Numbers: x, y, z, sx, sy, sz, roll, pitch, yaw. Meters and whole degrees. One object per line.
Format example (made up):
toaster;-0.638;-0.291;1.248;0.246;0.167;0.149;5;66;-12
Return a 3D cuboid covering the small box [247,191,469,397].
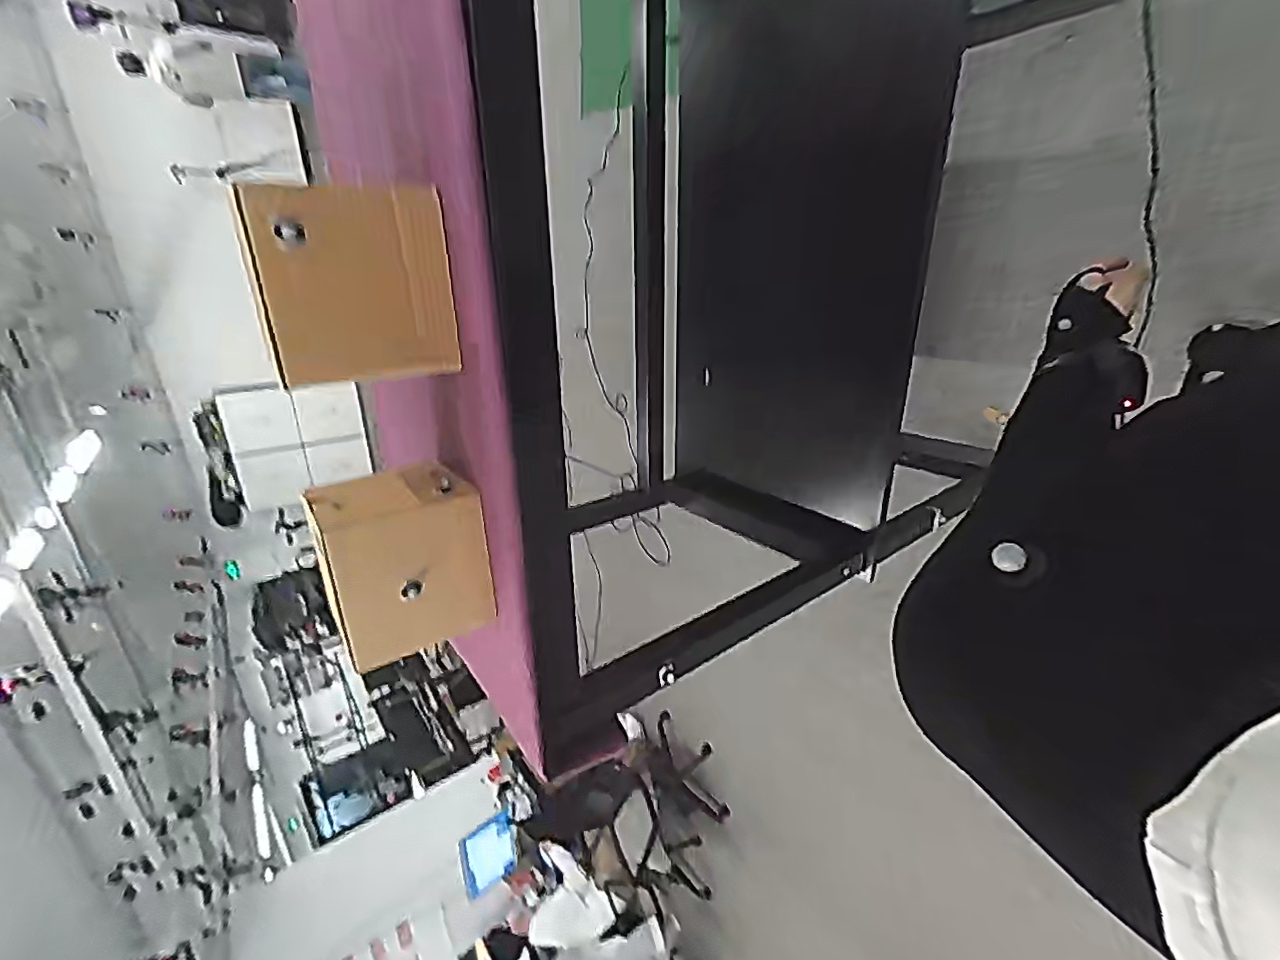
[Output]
small box;-0.293;-0.197;0.575;0.168;0.176;0.179;24;122;50

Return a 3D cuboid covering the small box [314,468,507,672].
small box;-0.282;0.095;0.676;0.168;0.176;0.179;22;122;50
